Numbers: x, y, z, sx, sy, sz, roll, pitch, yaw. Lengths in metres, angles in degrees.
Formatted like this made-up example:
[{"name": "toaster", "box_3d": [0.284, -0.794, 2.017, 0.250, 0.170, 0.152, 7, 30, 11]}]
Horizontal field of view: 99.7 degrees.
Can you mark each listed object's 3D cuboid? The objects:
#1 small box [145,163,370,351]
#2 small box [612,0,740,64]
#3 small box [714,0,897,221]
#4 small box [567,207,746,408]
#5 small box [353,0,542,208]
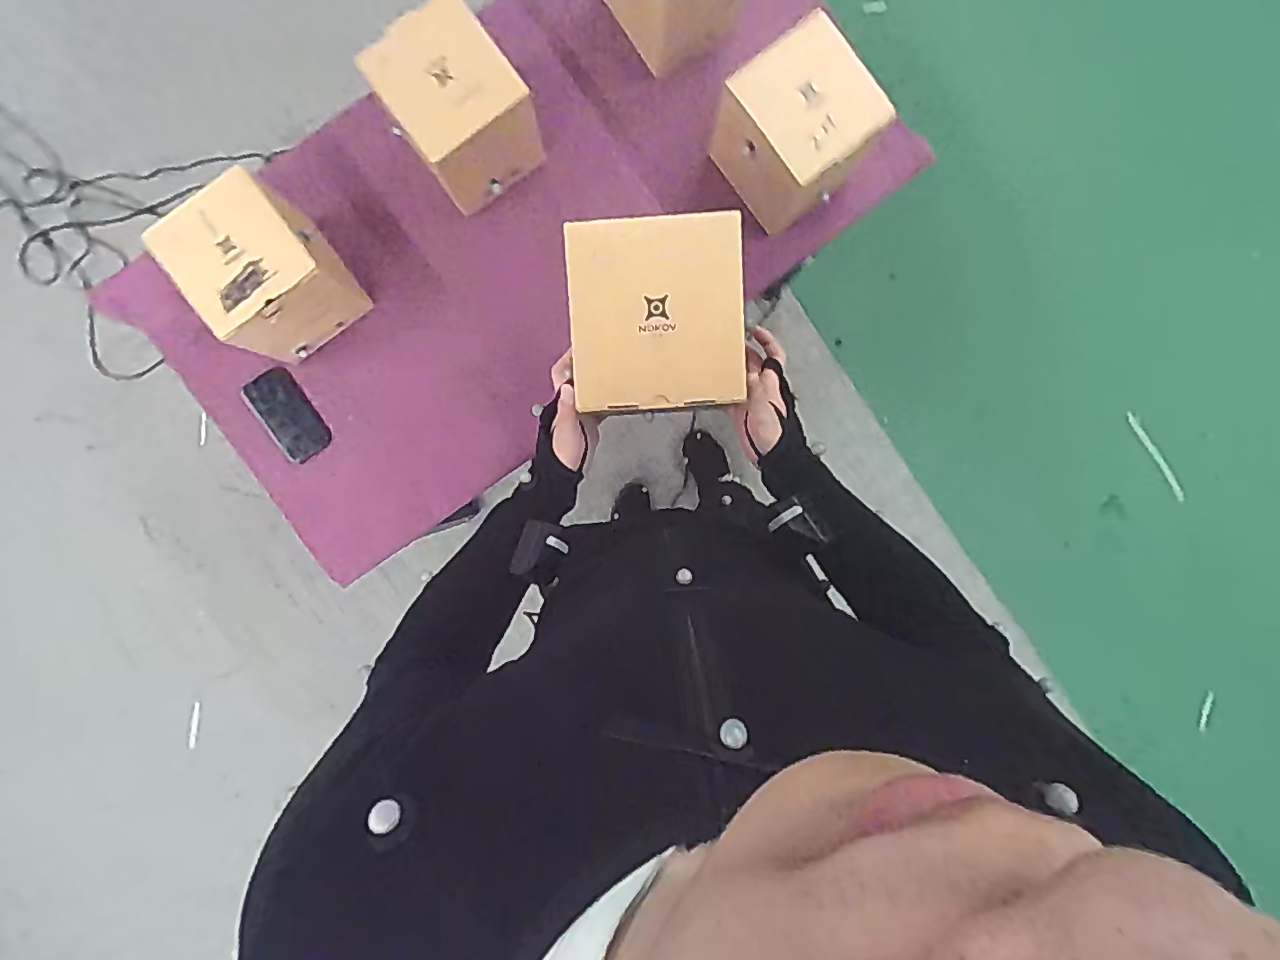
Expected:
[{"name": "small box", "box_3d": [-0.544, -0.309, 0.800, 0.168, 0.176, 0.179, -37, 91, 0]}, {"name": "small box", "box_3d": [0.046, -0.778, 0.792, 0.168, 0.176, 0.179, -35, 91, 1]}, {"name": "small box", "box_3d": [0.227, -0.526, 0.797, 0.168, 0.176, 0.179, -37, 92, 2]}, {"name": "small box", "box_3d": [0.018, -0.169, 0.582, 0.168, 0.176, 0.179, -2, 97, 2]}, {"name": "small box", "box_3d": [-0.268, -0.548, 0.797, 0.168, 0.176, 0.179, -37, 92, 1]}]
